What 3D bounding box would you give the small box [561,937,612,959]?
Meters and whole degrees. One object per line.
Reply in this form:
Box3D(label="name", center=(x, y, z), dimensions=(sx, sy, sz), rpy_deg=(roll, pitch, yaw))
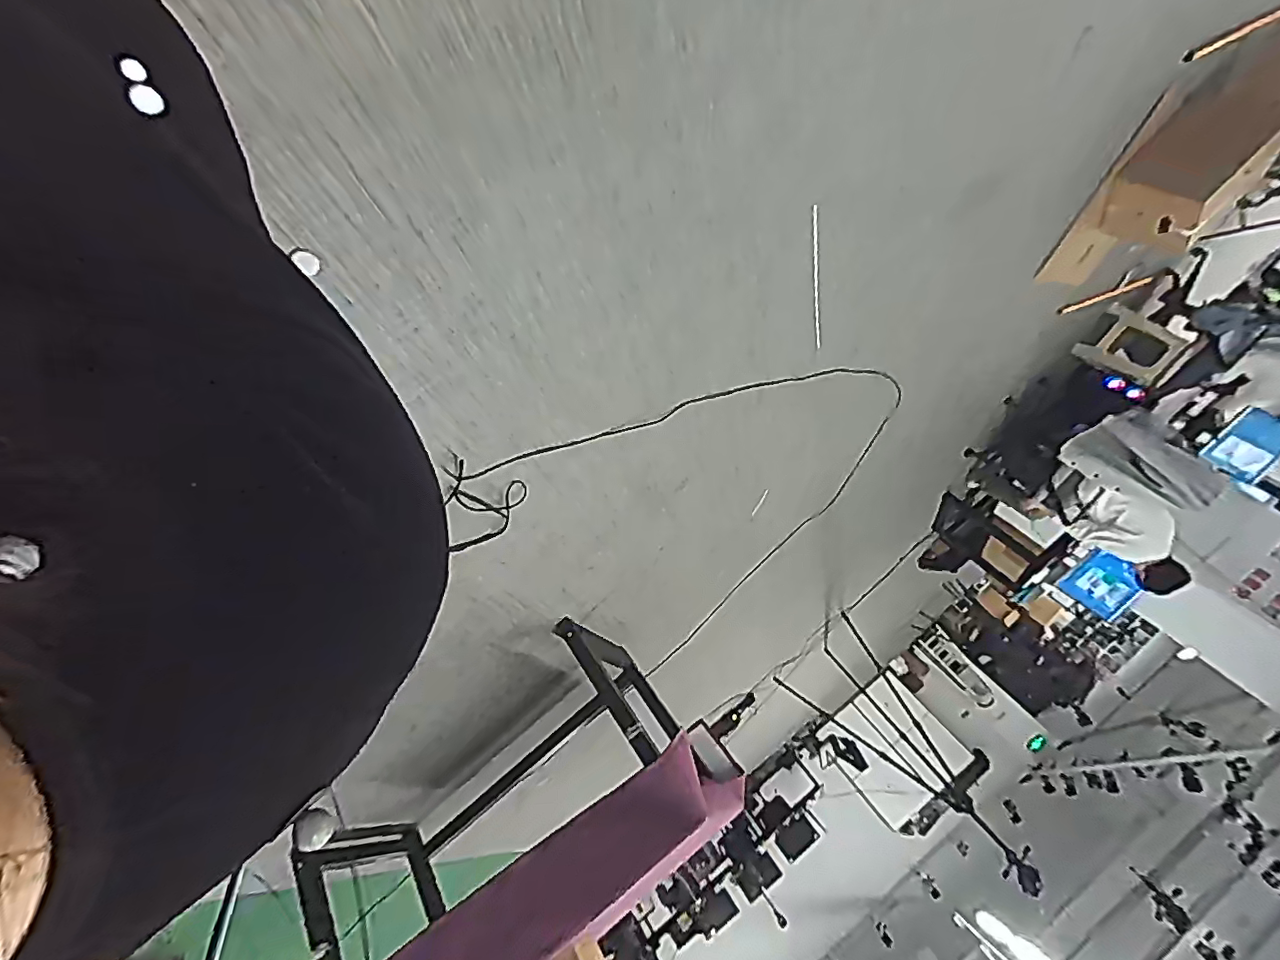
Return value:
Box3D(label="small box", center=(-0.162, 1.392, 1.473), dimensions=(0.179, 0.176, 0.168), rpy_deg=(-39, 146, -7))
